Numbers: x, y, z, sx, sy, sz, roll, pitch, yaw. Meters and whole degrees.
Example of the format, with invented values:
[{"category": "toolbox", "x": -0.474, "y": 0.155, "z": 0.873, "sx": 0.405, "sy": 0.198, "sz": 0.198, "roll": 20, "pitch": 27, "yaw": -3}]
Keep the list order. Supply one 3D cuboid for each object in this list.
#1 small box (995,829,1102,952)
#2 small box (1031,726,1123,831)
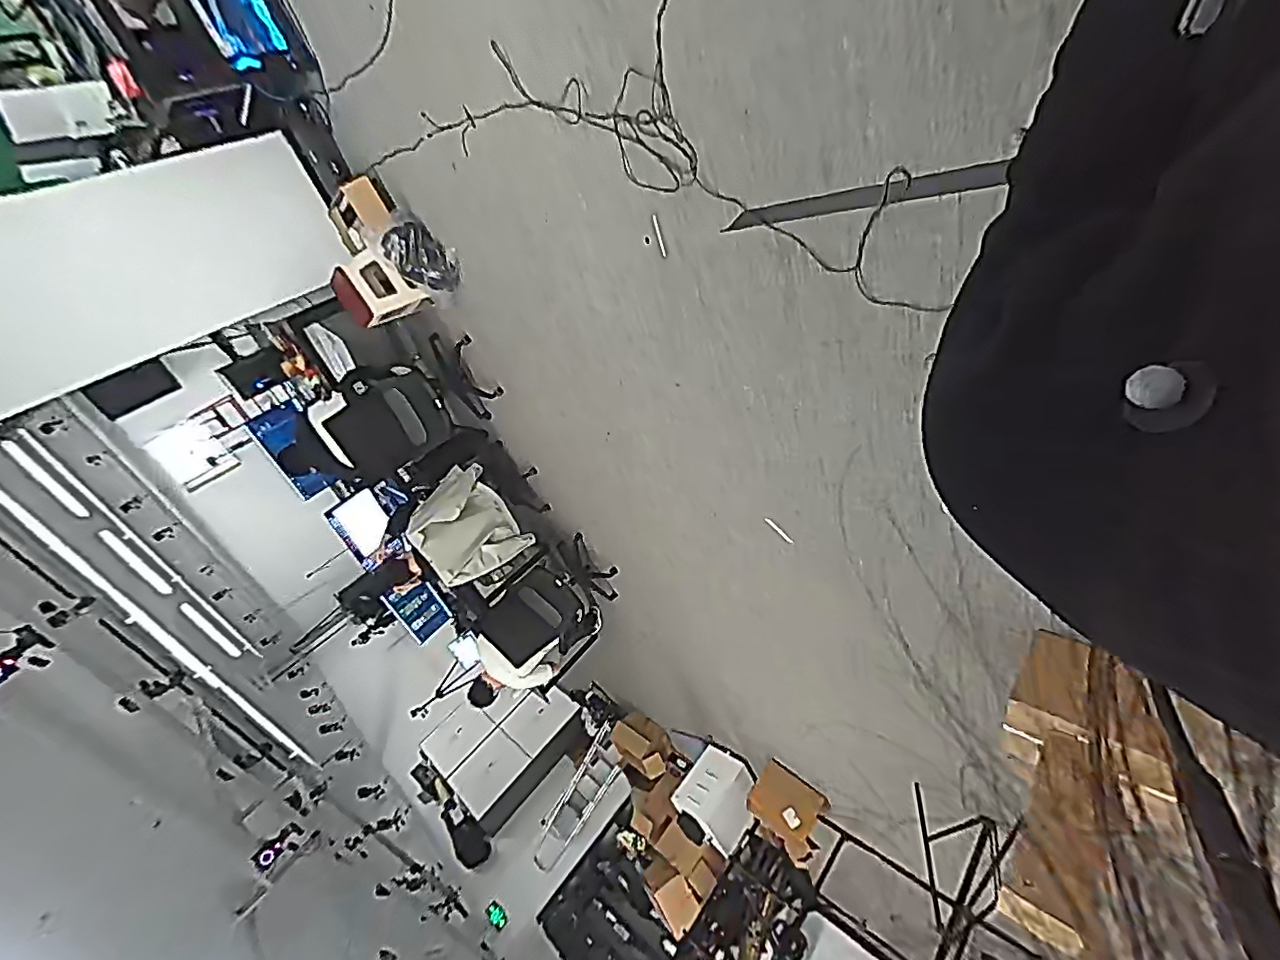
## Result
[{"category": "small box", "x": 1.049, "y": 1.042, "z": 1.393, "sx": 0.179, "sy": 0.176, "sz": 0.168, "roll": 17, "pitch": 138, "yaw": 42}, {"category": "small box", "x": 1.260, "y": 0.851, "z": 1.558, "sx": 0.179, "sy": 0.176, "sz": 0.168, "roll": 15, "pitch": 135, "yaw": 45}]
